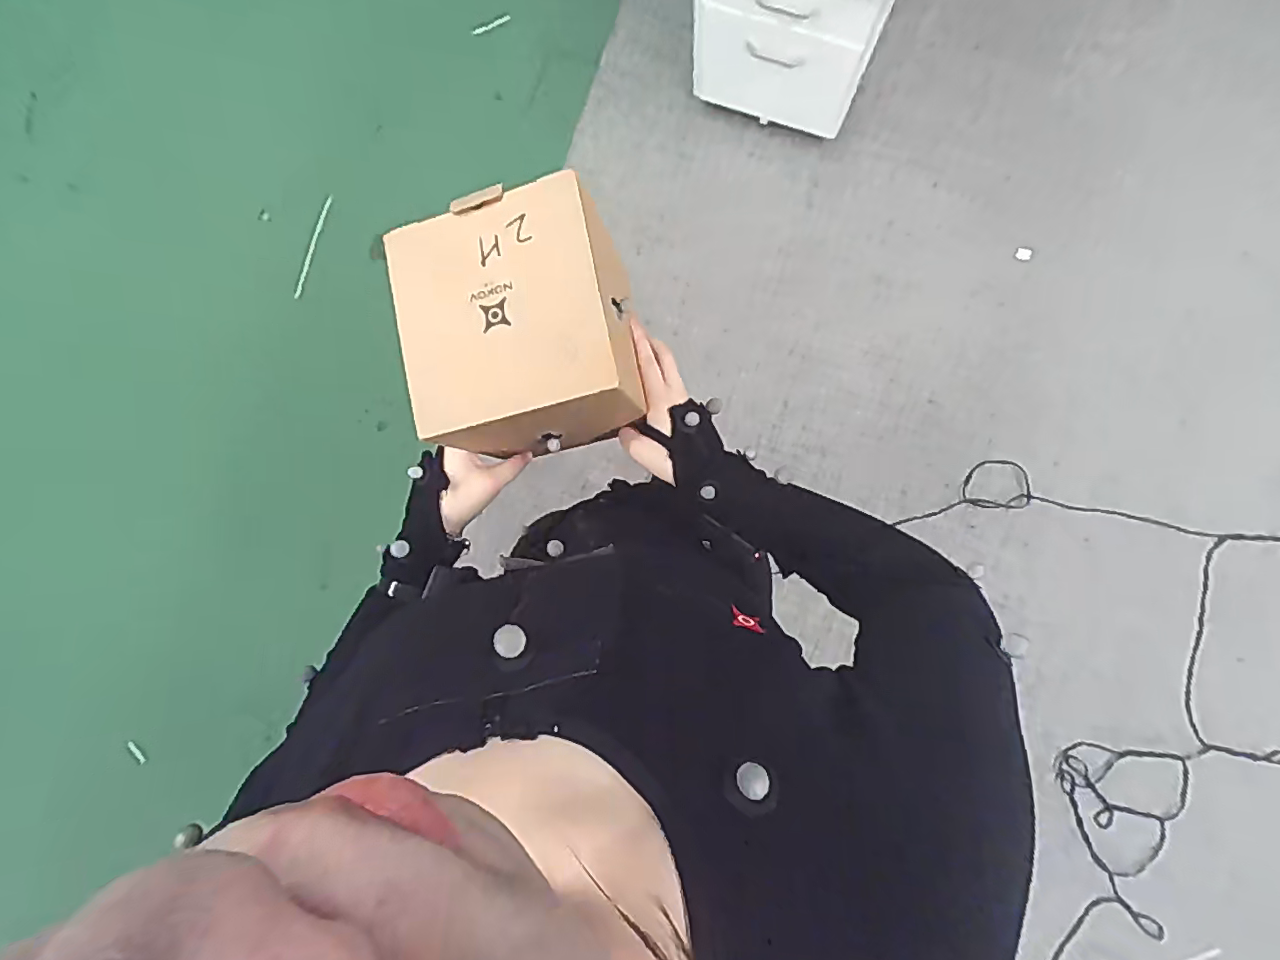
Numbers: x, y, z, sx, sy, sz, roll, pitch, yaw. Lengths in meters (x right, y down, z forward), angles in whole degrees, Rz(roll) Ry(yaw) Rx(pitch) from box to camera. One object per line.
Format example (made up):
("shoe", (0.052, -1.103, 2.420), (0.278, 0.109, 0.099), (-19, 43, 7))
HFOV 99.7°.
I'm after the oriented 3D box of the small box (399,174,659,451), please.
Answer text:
("small box", (-0.085, -0.127, 0.492), (0.168, 0.176, 0.179), (-12, 83, 10))
